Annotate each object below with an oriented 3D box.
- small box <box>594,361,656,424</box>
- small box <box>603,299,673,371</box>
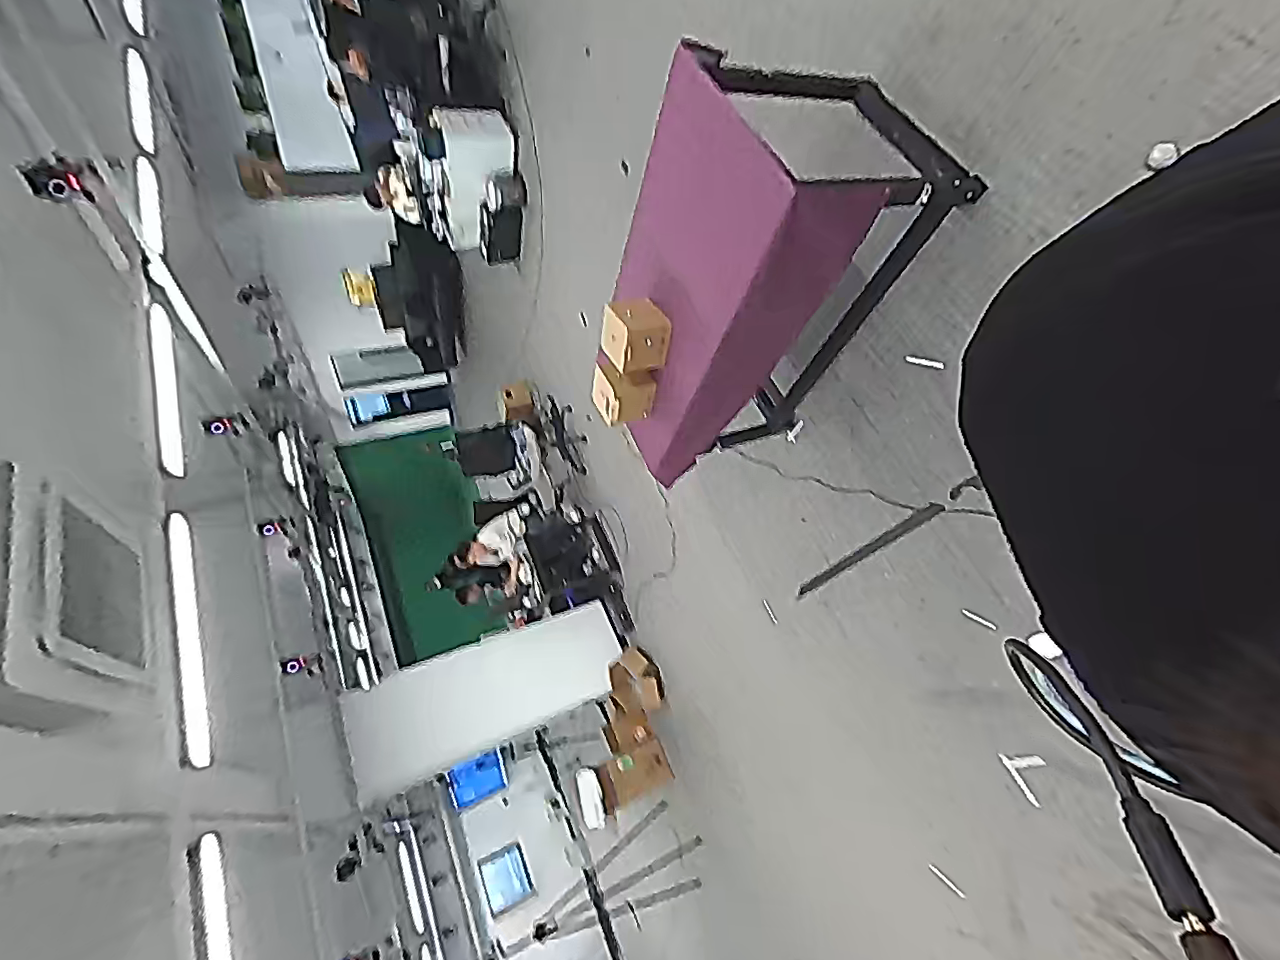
[{"bbox_3d":[-0.055,-0.338,2.014,0.179,0.176,0.168,58,151,33],"label":"small box"},{"bbox_3d":[-0.009,-0.496,1.824,0.179,0.176,0.168,57,150,34],"label":"small box"}]
